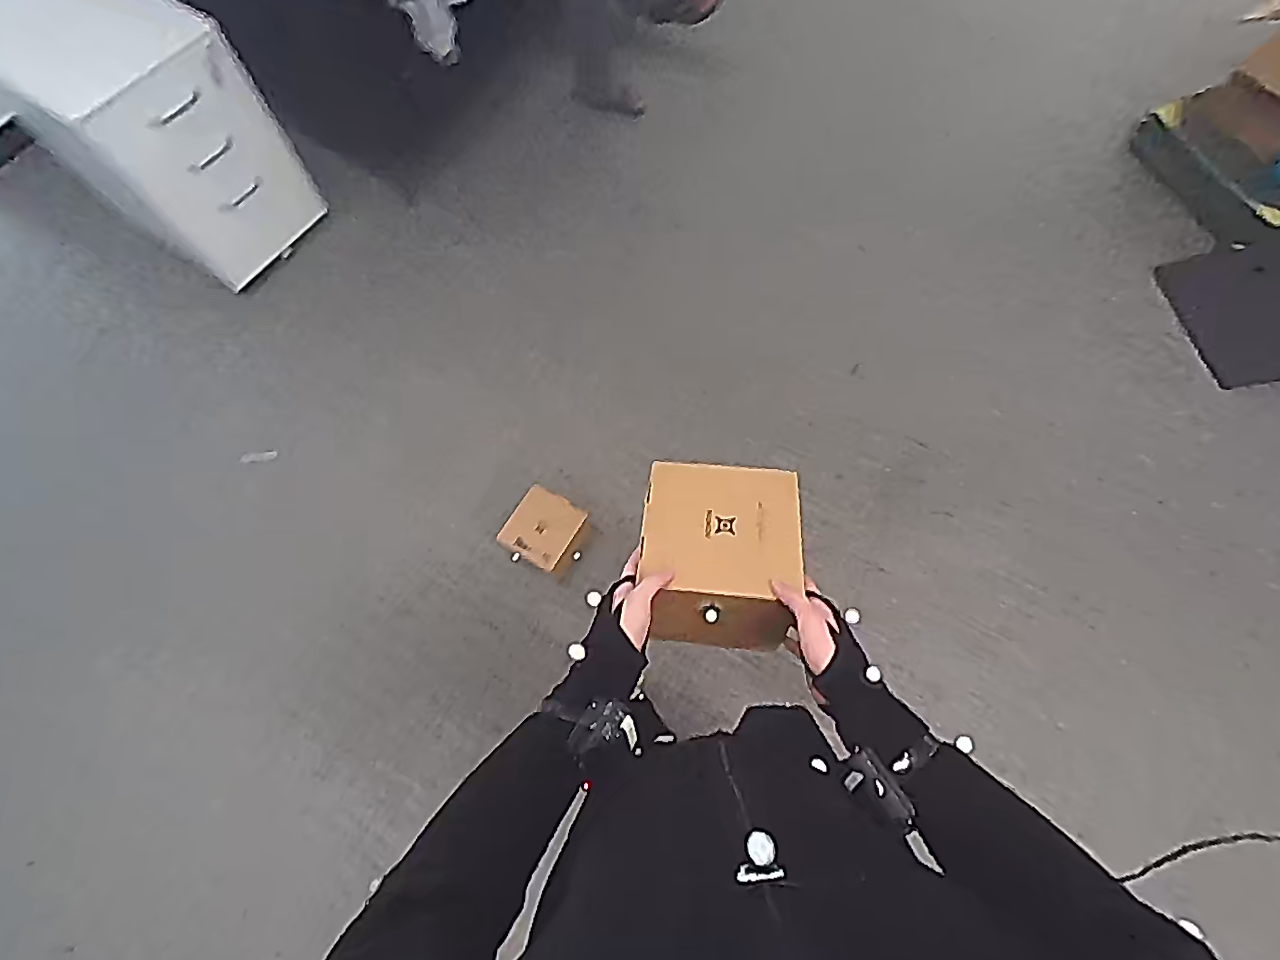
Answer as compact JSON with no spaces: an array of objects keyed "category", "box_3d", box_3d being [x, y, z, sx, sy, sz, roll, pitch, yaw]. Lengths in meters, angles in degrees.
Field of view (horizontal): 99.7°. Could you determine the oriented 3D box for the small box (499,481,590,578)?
[{"category":"small box","box_3d":[-0.246,0.137,1.431,0.168,0.176,0.179,31,72,8]}]
